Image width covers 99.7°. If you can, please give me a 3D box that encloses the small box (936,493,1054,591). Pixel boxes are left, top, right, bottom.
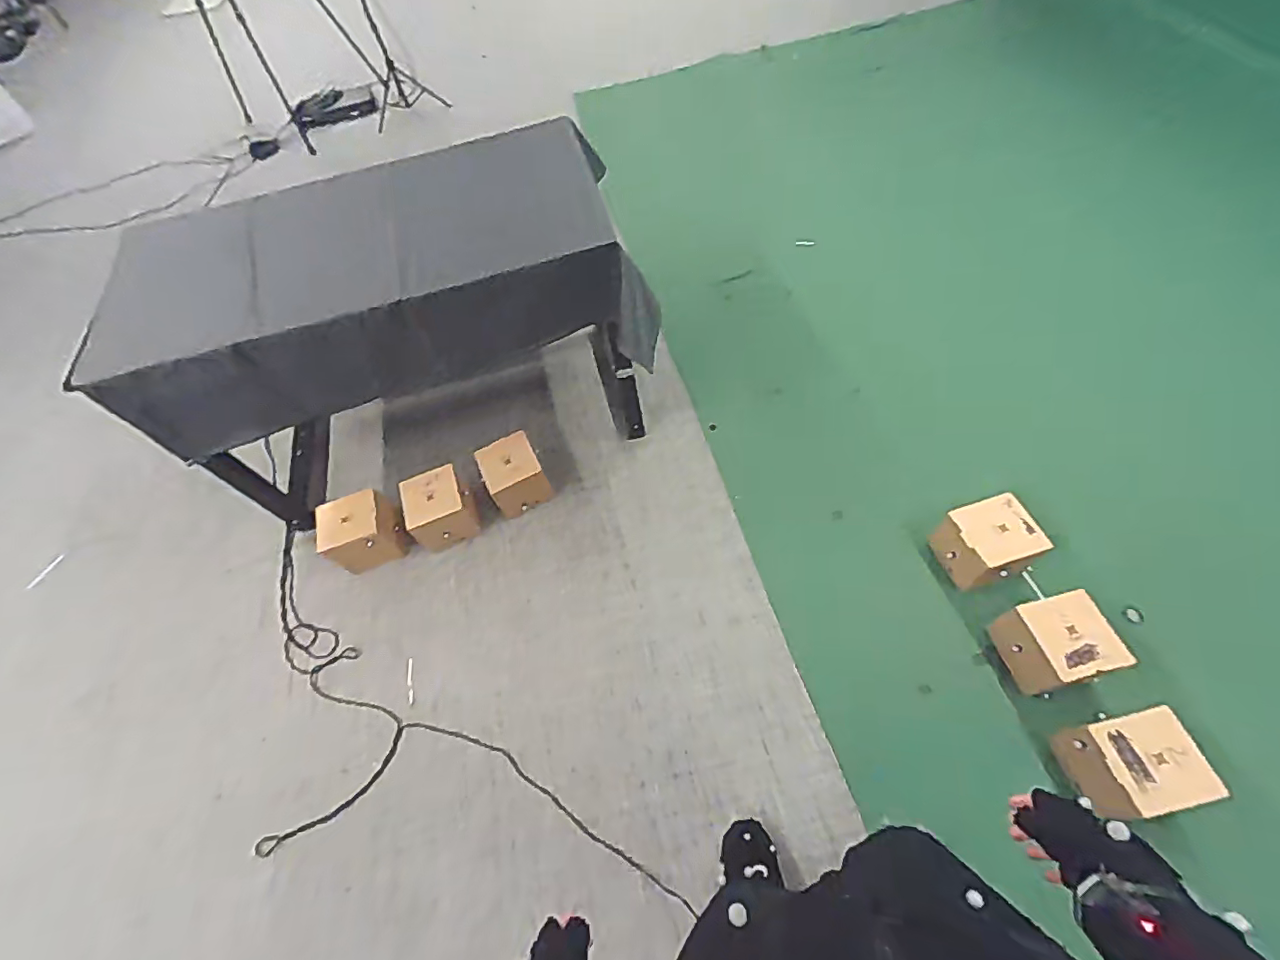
[{"bbox_3d":[0.889,0.164,1.384,0.179,0.176,0.168,-17,58,-2],"label":"small box"}]

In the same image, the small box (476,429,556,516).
[{"bbox_3d":[-0.379,-0.020,1.667,0.168,0.176,0.179,-26,59,-8],"label":"small box"}]
